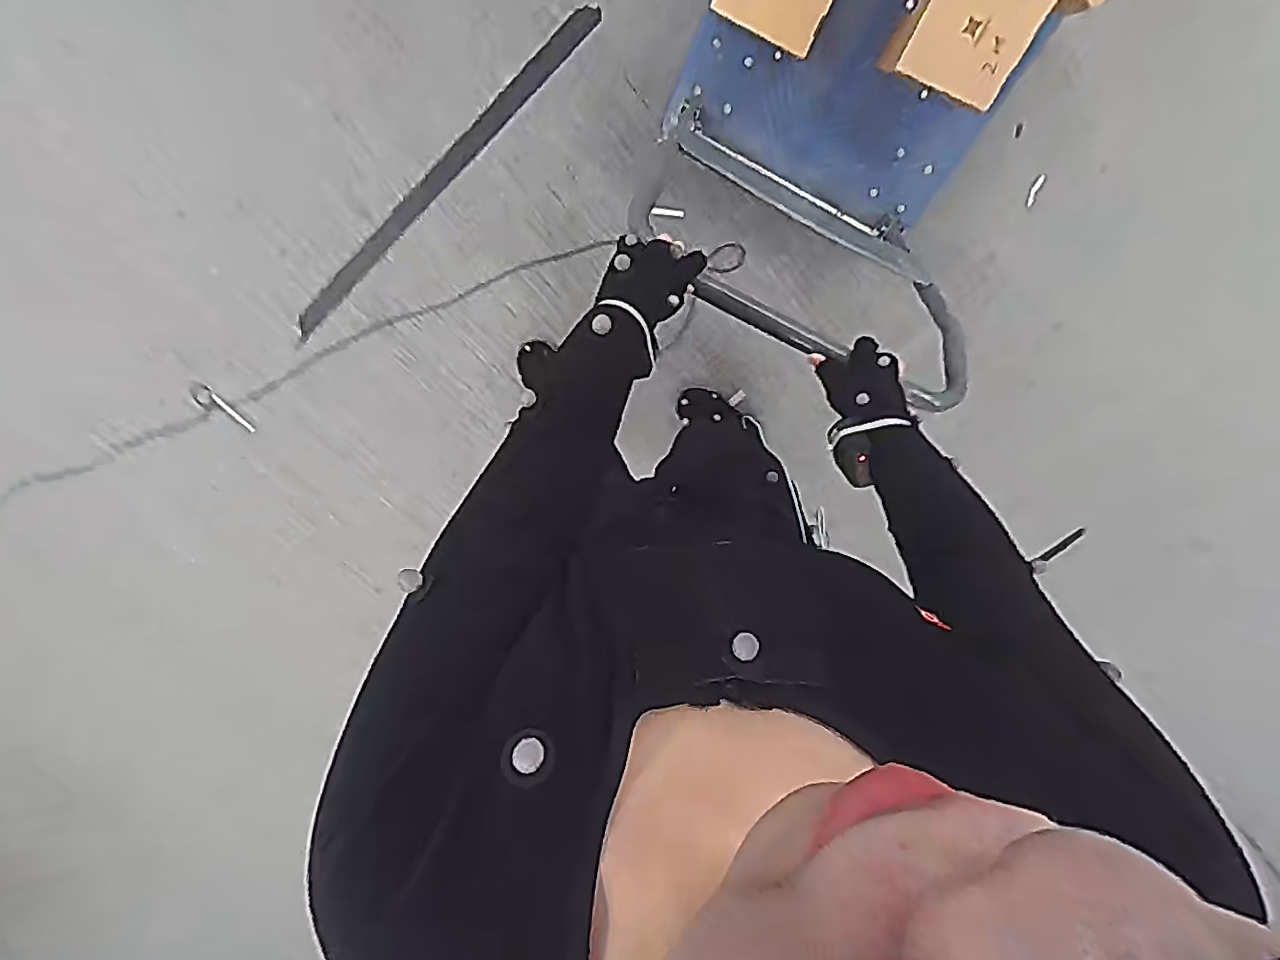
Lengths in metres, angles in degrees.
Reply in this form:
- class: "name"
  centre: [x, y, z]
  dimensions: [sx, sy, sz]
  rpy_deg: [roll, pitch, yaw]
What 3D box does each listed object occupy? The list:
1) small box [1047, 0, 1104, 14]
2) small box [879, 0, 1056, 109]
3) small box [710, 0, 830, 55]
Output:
- class: "small box"
  centre: [0.677, -0.845, 0.802]
  dimensions: [0.168, 0.176, 0.179]
  rpy_deg: [34, 126, -16]
- class: "small box"
  centre: [0.532, -0.749, 0.903]
  dimensions: [0.179, 0.176, 0.168]
  rpy_deg: [21, 128, -6]
- class: "small box"
  centre: [0.230, -0.834, 0.892]
  dimensions: [0.179, 0.176, 0.168]
  rpy_deg: [21, 128, -8]
